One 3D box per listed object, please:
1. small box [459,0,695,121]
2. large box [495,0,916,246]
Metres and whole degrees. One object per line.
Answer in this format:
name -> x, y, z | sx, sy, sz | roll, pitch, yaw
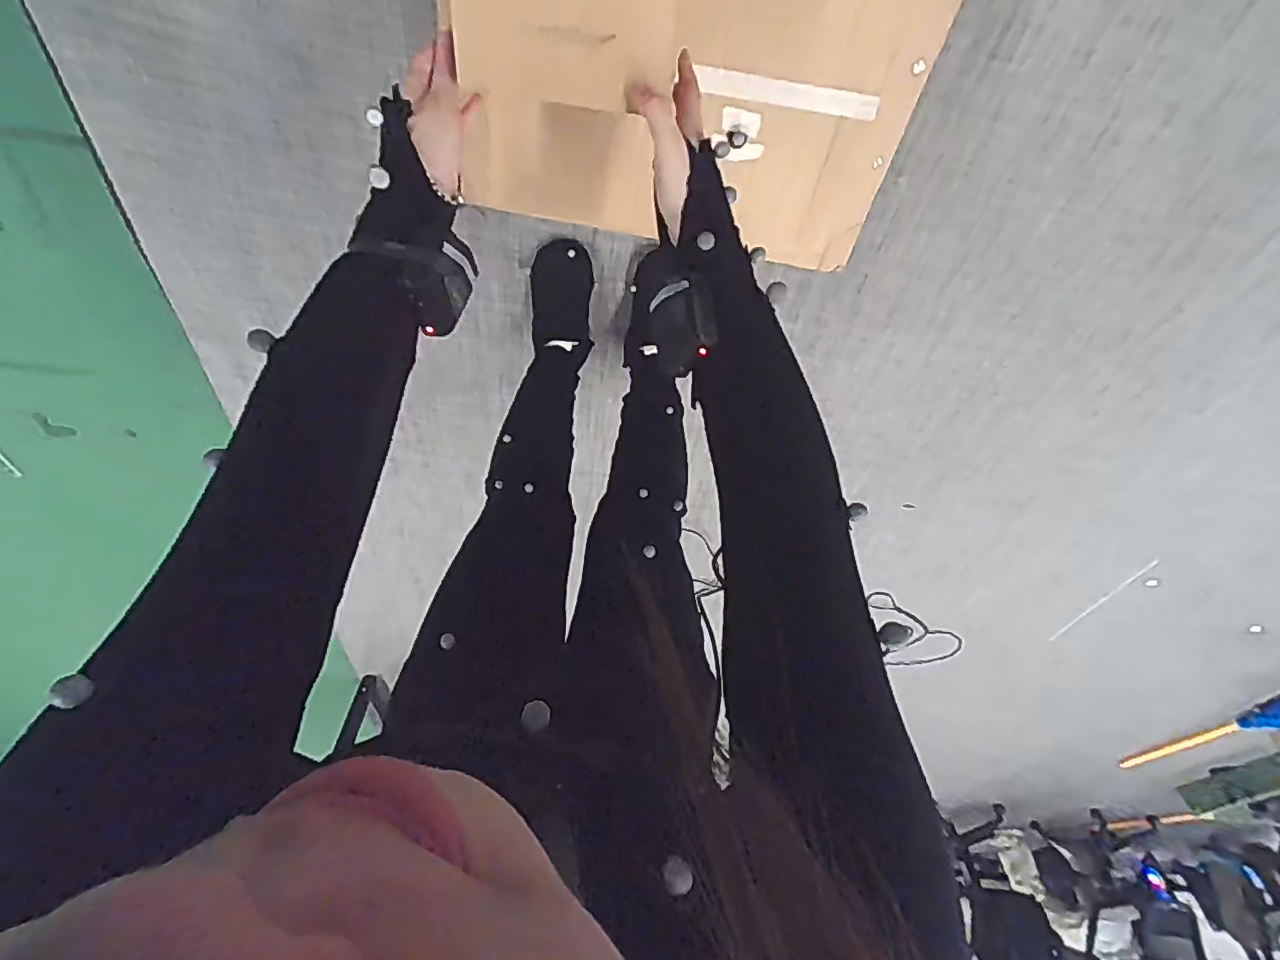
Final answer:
small box -> -0.040, -0.407, 0.418 | 0.168, 0.176, 0.179 | 6, 134, -3
large box -> 0.051, -0.515, 0.649 | 0.408, 0.320, 0.320 | 6, 135, -5
